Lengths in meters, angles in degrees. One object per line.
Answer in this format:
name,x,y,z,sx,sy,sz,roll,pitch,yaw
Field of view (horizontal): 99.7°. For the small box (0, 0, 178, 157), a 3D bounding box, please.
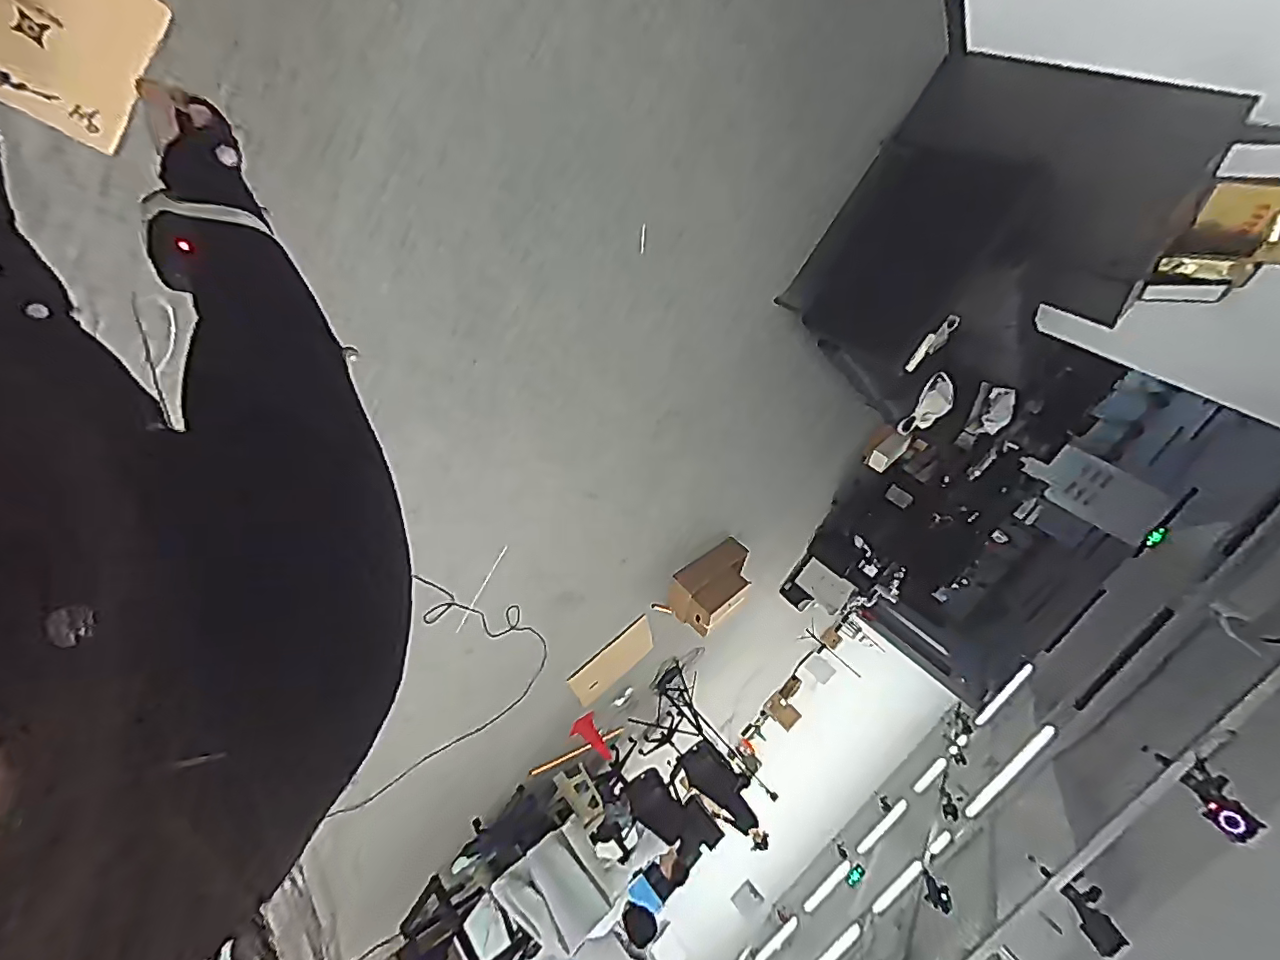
small box,-0.644,-0.494,0.574,0.179,0.176,0.168,-57,149,9
